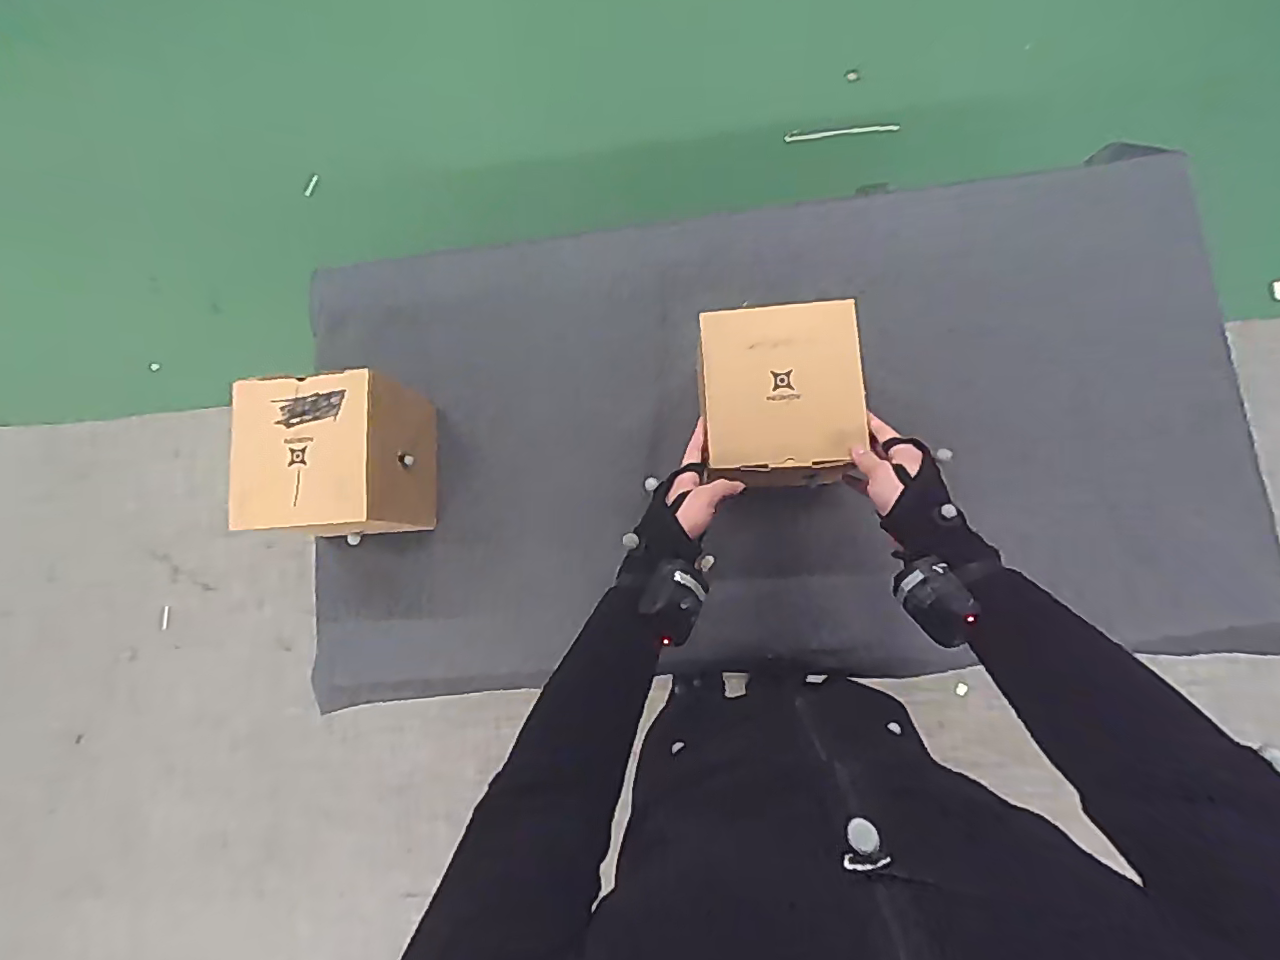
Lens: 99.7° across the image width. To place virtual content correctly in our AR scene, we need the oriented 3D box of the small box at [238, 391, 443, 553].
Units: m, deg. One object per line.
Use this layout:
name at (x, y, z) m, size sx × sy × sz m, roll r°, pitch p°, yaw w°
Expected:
small box at (-0.366, 0.000, 0.691) m, size 0.168 × 0.176 × 0.179 m, roll -5°, pitch 82°, yaw 5°

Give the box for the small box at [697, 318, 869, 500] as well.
small box at (0.158, -0.071, 0.654) m, size 0.168 × 0.176 × 0.179 m, roll -5°, pitch 80°, yaw 4°
